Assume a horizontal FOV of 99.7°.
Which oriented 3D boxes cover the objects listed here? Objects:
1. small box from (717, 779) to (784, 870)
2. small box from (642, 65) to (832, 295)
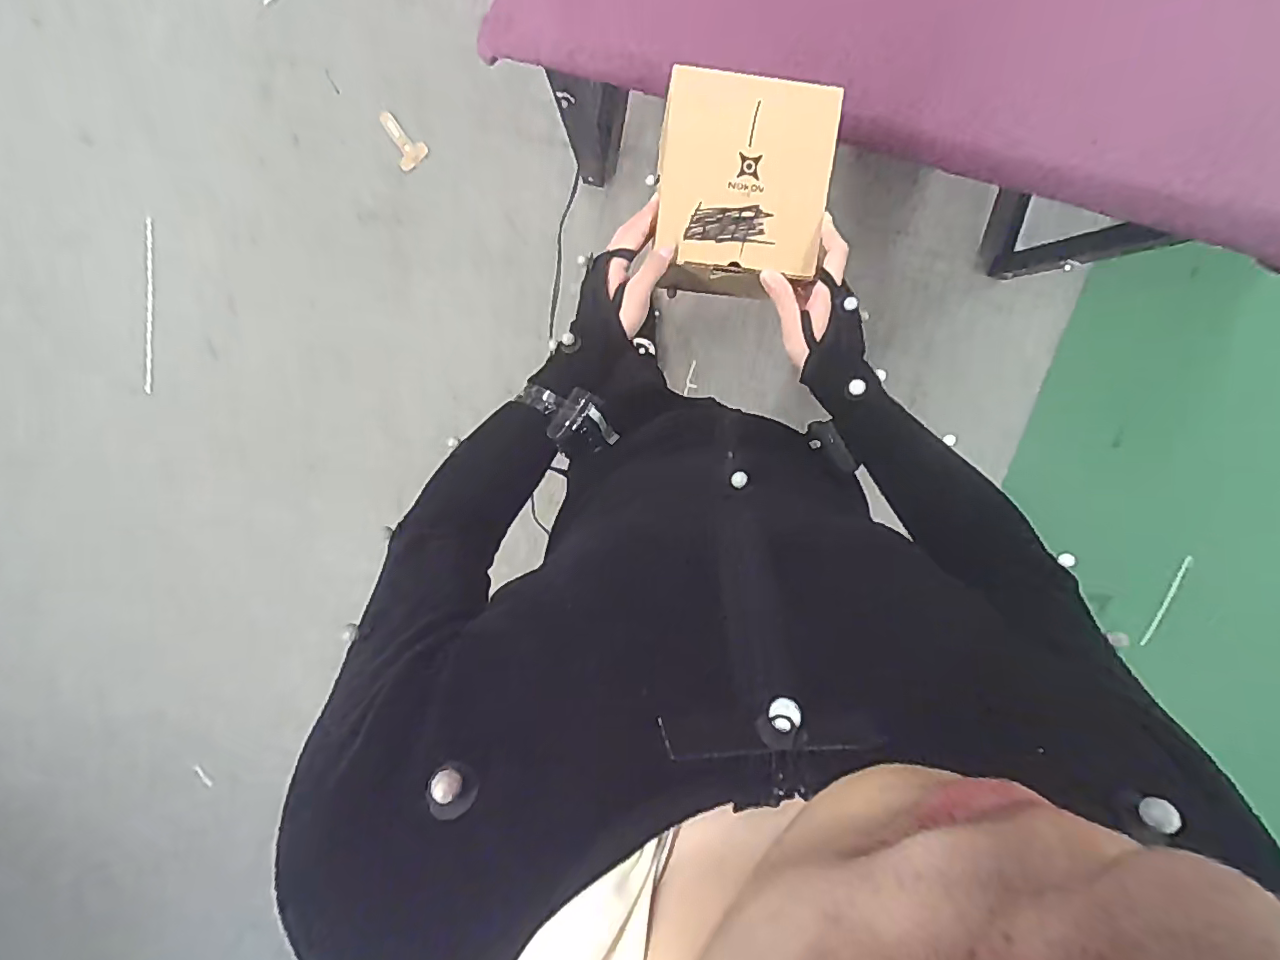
[{"bbox_3d":[0.361,1.141,1.799,0.168,0.176,0.179,14,104,-2],"label":"small box"},{"bbox_3d":[0.093,-0.313,0.605,0.168,0.176,0.179,6,100,-2],"label":"small box"}]
